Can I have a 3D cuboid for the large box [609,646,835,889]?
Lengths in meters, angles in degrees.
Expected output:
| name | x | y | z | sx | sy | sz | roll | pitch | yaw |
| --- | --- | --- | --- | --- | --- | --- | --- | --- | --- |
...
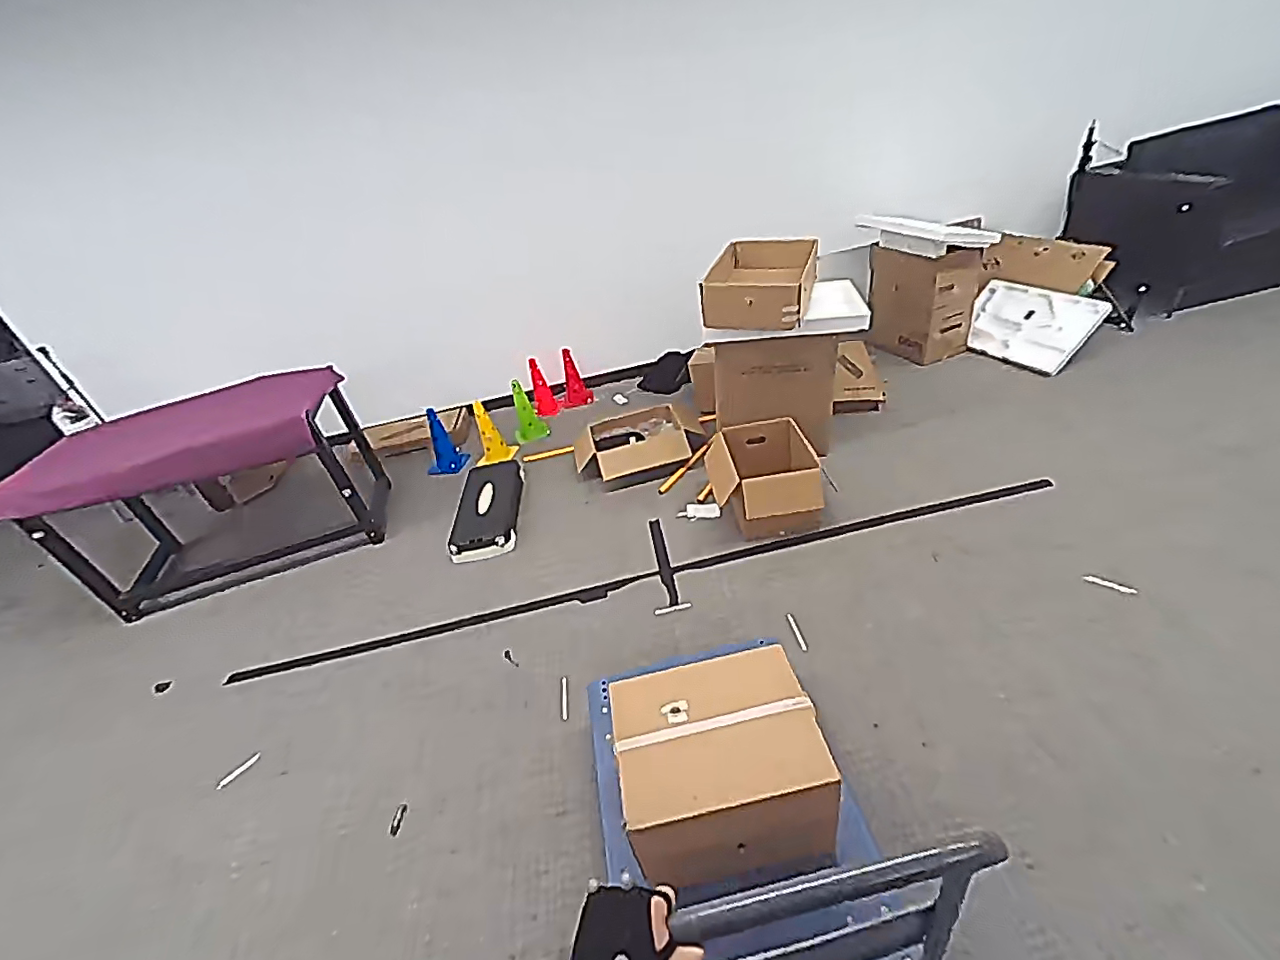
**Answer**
| name | x | y | z | sx | sy | sz | roll | pitch | yaw |
| --- | --- | --- | --- | --- | --- | --- | --- | --- | --- |
| large box | 0.174 | 0.629 | 1.196 | 0.408 | 0.320 | 0.320 | -14 | 33 | -1 |
